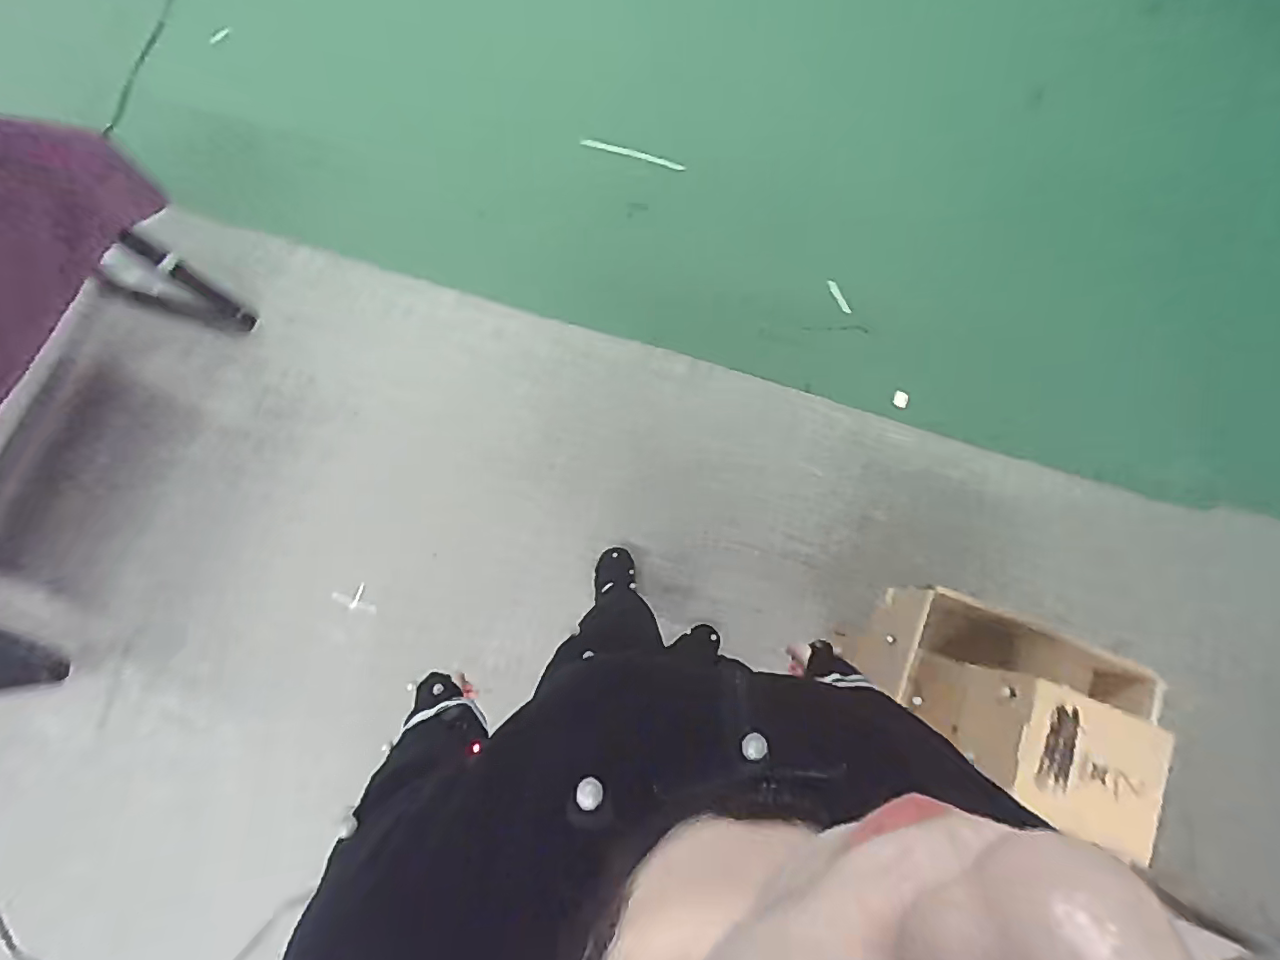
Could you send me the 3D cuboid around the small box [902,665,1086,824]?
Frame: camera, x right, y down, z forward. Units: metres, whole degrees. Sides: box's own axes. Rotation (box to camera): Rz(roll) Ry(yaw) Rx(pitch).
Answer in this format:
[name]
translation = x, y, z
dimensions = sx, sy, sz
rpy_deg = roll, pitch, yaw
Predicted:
[small box]
translation = 0.574, 0.422, 0.897
dimensions = 0.179, 0.176, 0.168
rpy_deg = 21, 79, 7
